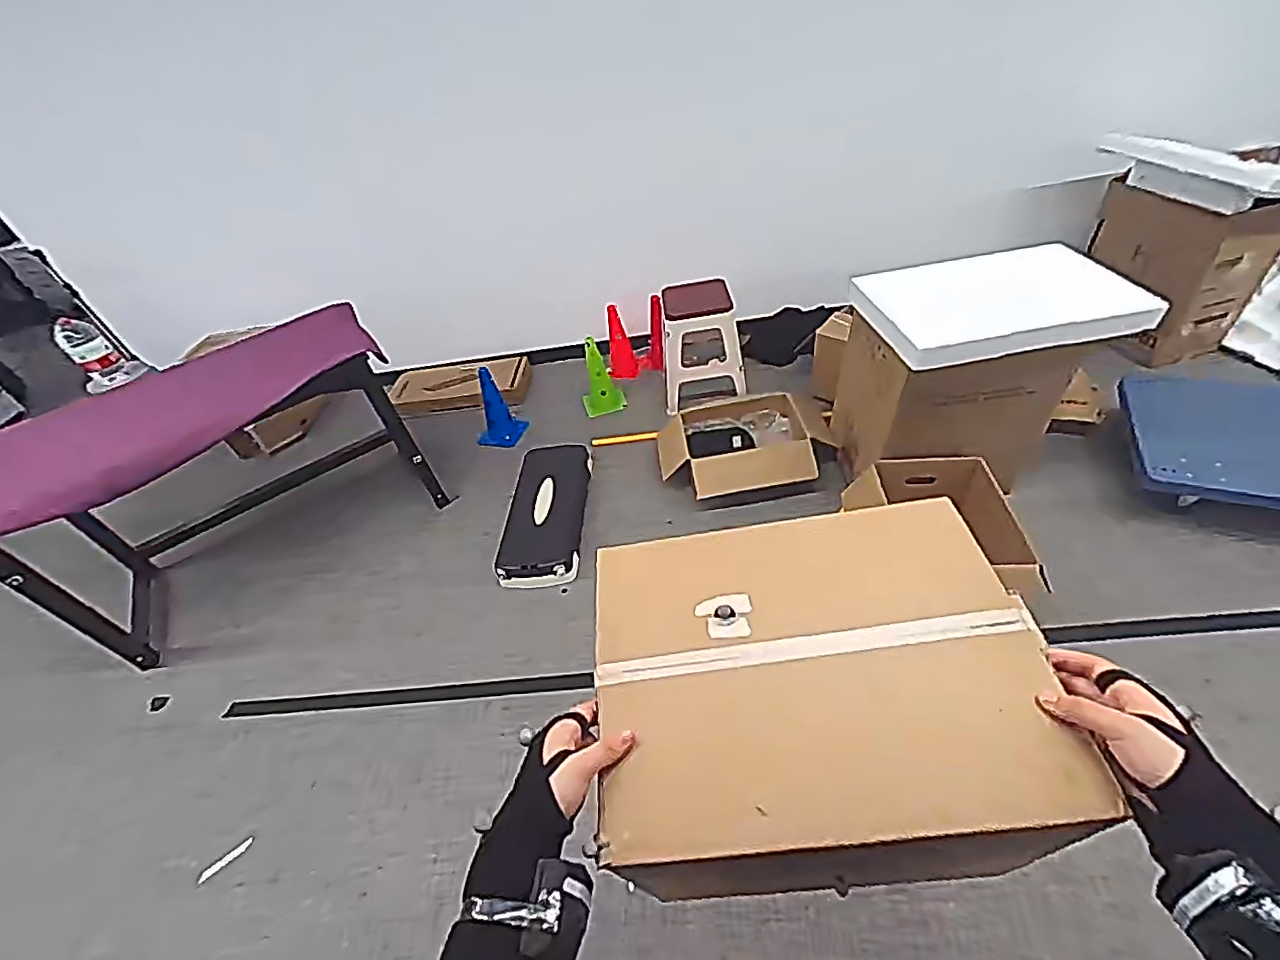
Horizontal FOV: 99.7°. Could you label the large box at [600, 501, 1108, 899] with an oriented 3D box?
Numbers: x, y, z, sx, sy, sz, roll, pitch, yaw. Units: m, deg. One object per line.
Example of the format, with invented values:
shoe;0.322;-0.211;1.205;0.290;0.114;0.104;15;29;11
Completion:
large box;0.188;0.270;0.637;0.408;0.320;0.320;-11;45;6
